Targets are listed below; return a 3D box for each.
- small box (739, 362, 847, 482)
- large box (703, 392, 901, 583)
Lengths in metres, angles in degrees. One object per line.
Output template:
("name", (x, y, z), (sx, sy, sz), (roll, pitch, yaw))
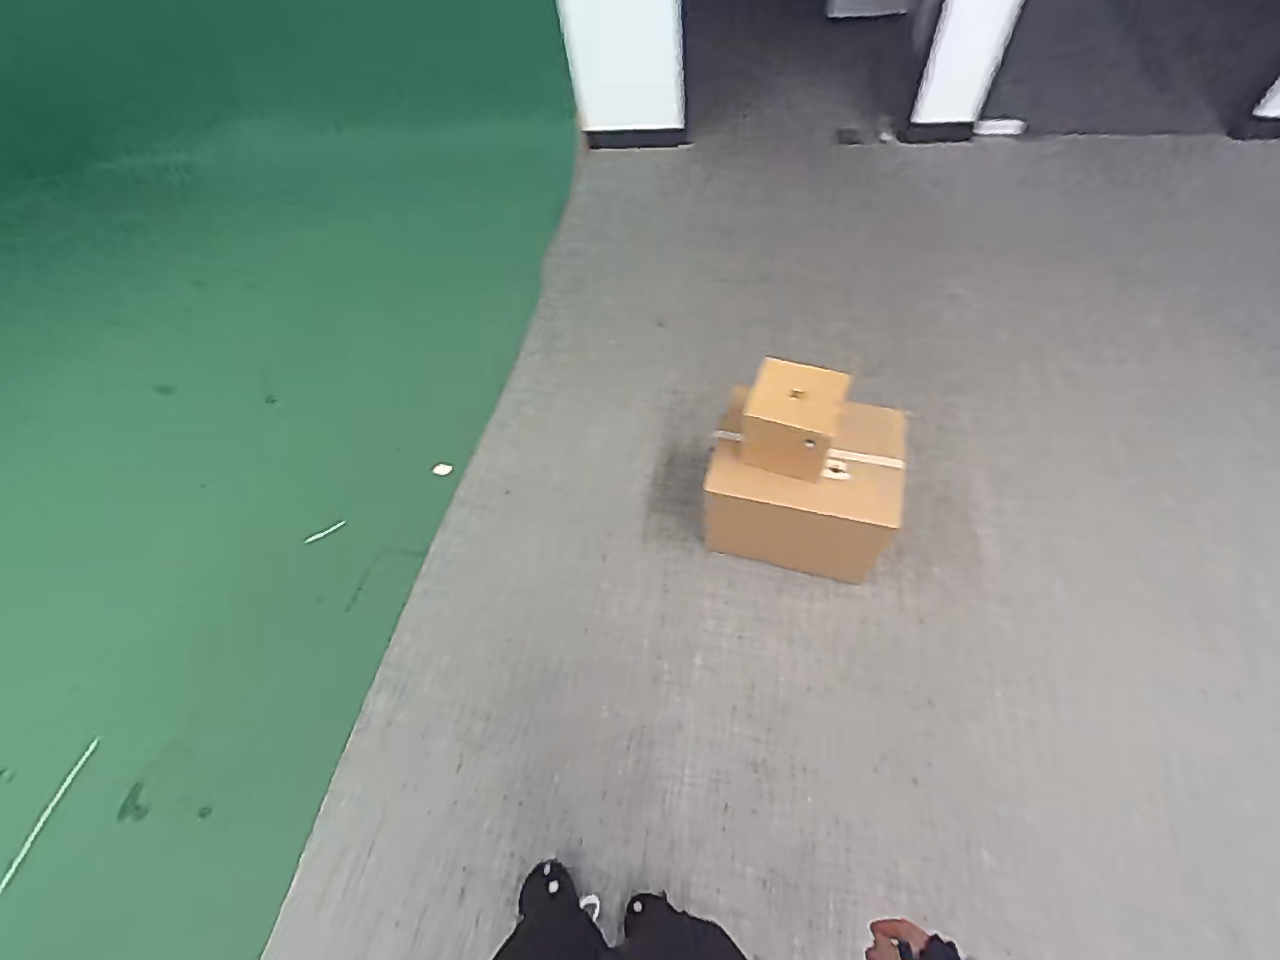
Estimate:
("small box", (0.315, -0.117, 1.136), (0.179, 0.176, 0.168), (16, 60, 16))
("large box", (0.380, 0.023, 1.329), (0.408, 0.320, 0.320), (11, 60, 12))
